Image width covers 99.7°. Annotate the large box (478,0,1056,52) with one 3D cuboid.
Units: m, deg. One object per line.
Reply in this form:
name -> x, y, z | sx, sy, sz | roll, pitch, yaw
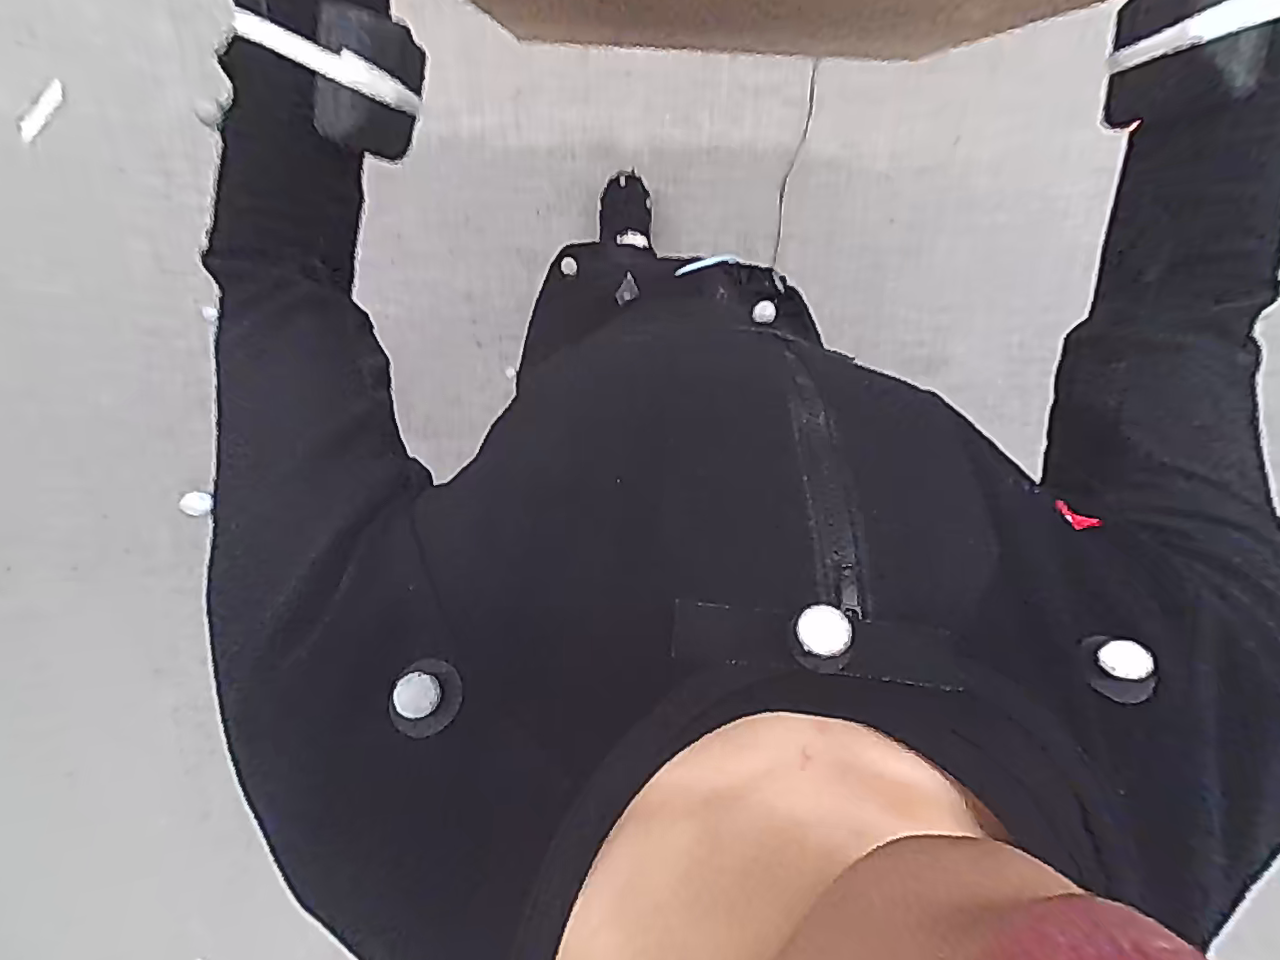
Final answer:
large box -> 0.080, -0.487, 0.341 | 0.408, 0.320, 0.320 | 2, 124, -1
